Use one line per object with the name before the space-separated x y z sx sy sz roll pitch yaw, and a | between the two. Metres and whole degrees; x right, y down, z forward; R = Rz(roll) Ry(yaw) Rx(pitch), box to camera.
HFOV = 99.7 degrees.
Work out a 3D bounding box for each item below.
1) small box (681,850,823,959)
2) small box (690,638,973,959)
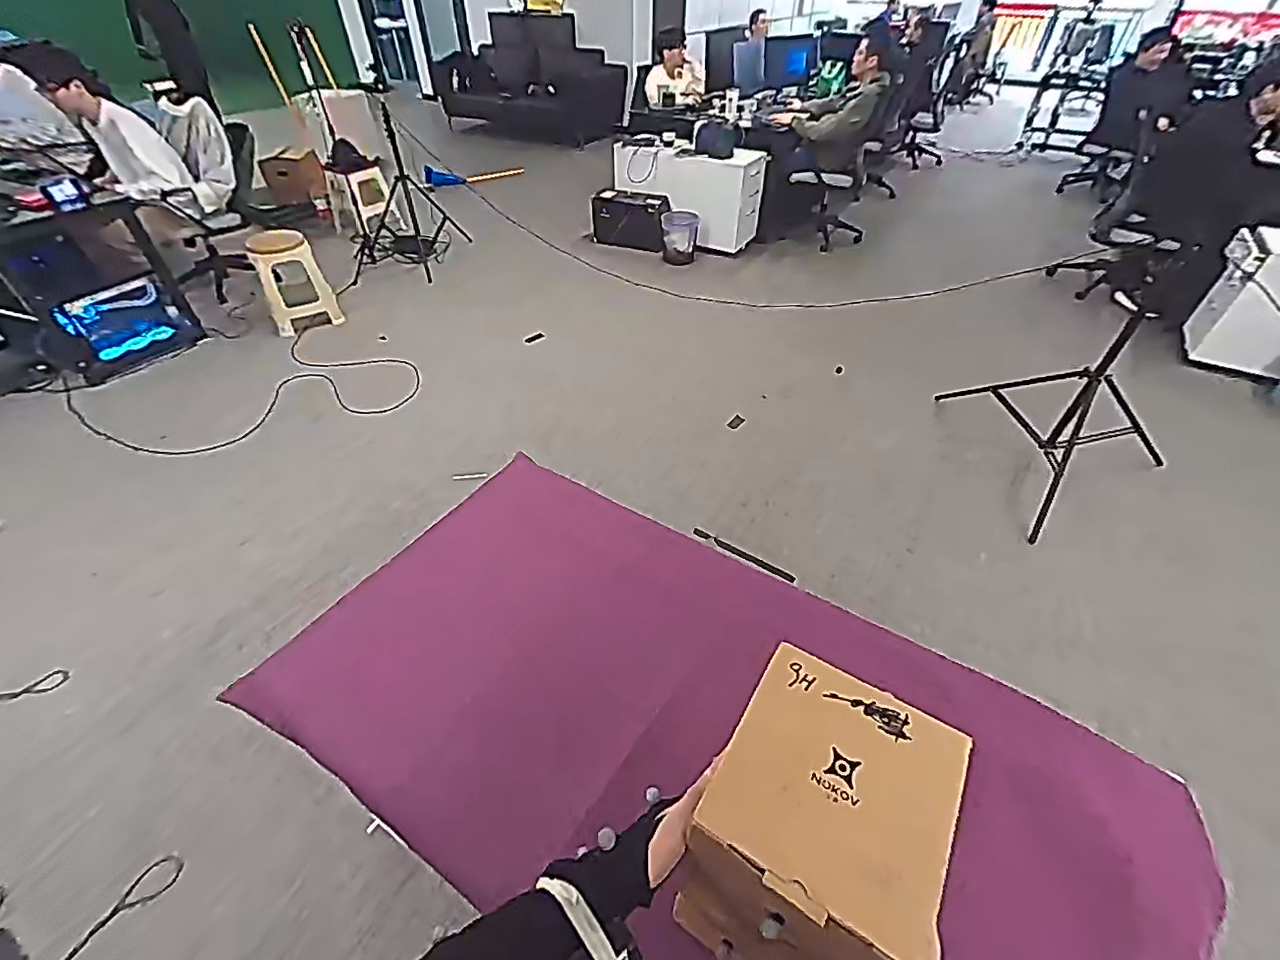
small box | 0.155 0.427 0.591 0.168 0.176 0.179 23 47 23
small box | 0.156 0.283 0.473 0.168 0.176 0.179 24 51 24
